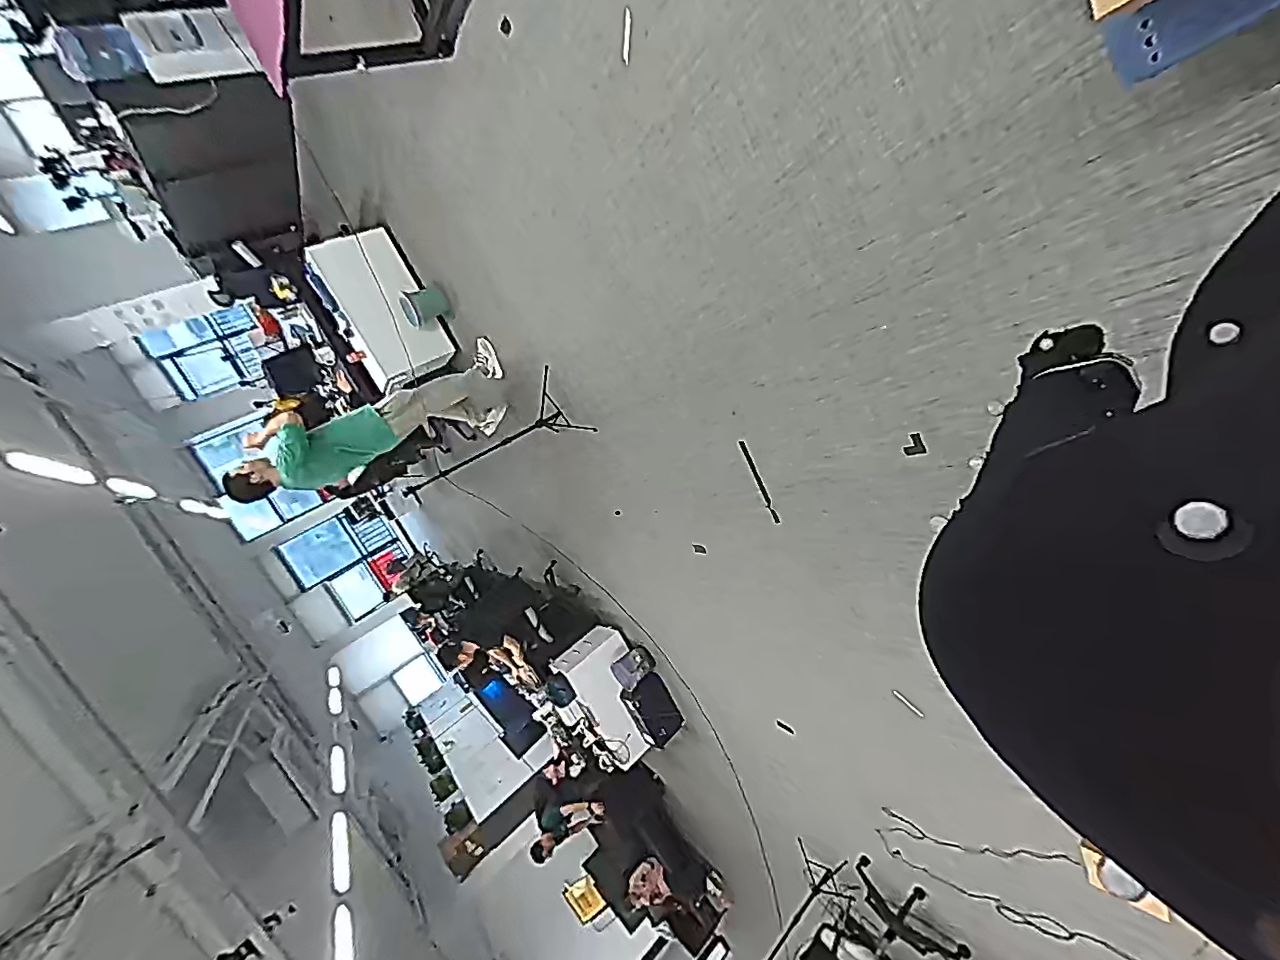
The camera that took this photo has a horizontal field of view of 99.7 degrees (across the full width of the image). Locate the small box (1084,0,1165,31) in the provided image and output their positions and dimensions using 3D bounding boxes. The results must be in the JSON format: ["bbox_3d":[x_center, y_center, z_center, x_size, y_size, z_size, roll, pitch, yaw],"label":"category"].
[{"bbox_3d":[0.696,-0.732,0.695,0.179,0.176,0.168,-1,117,58],"label":"small box"}]

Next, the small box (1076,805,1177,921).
[{"bbox_3d":[1.381,1.071,1.530,0.179,0.176,0.168,0,120,58],"label":"small box"}]
